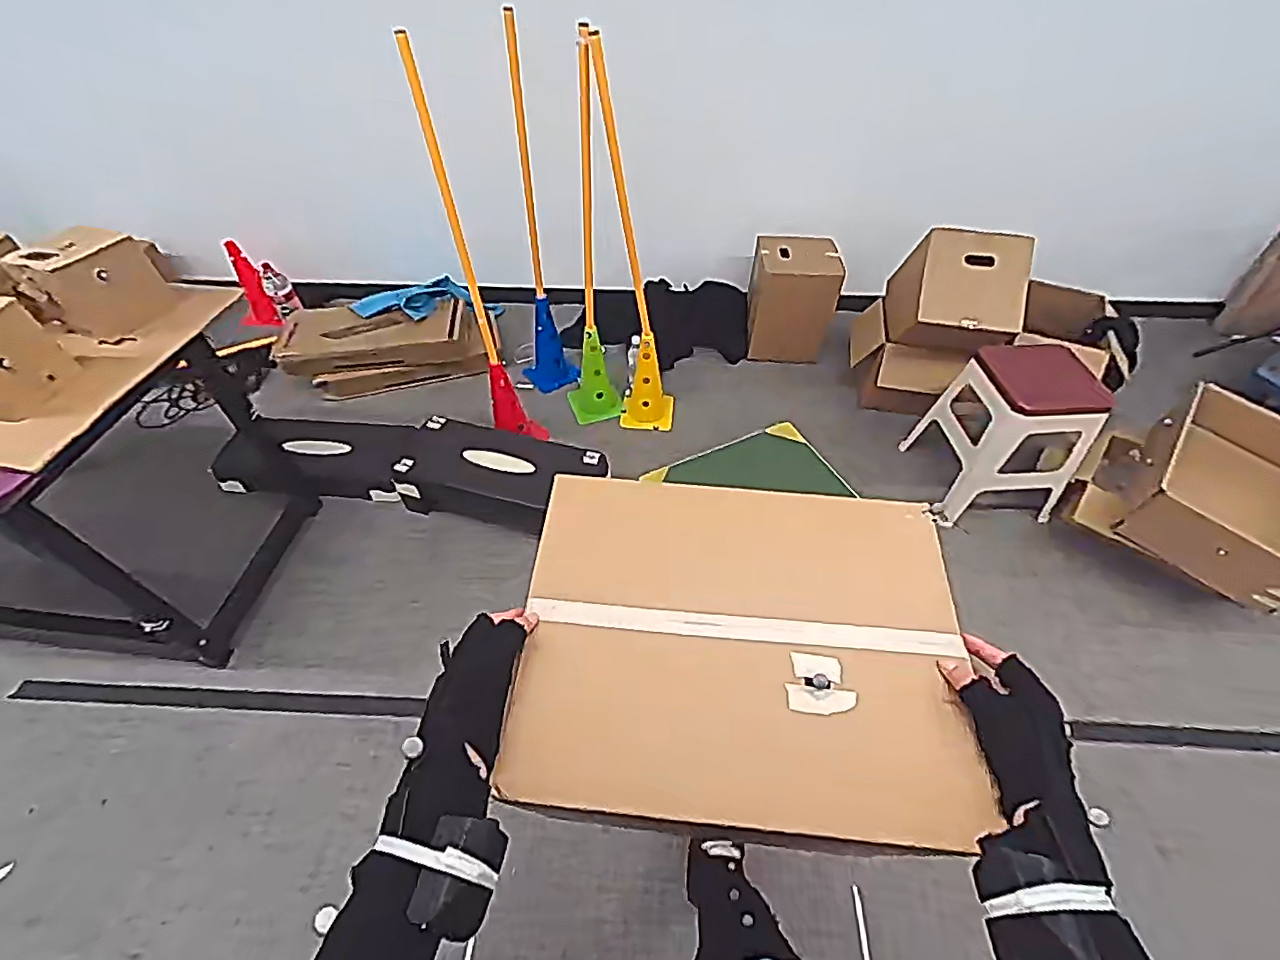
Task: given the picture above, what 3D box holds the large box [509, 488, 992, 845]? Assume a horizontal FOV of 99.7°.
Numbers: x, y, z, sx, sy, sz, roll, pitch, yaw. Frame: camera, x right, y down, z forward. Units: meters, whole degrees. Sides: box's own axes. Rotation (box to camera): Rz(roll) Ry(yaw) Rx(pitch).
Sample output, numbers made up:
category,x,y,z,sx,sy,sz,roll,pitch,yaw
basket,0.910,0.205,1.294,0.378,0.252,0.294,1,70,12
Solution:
category,x,y,z,sx,sy,sz,roll,pitch,yaw
large box,0.097,0.231,0.645,0.408,0.320,0.320,5,56,3
